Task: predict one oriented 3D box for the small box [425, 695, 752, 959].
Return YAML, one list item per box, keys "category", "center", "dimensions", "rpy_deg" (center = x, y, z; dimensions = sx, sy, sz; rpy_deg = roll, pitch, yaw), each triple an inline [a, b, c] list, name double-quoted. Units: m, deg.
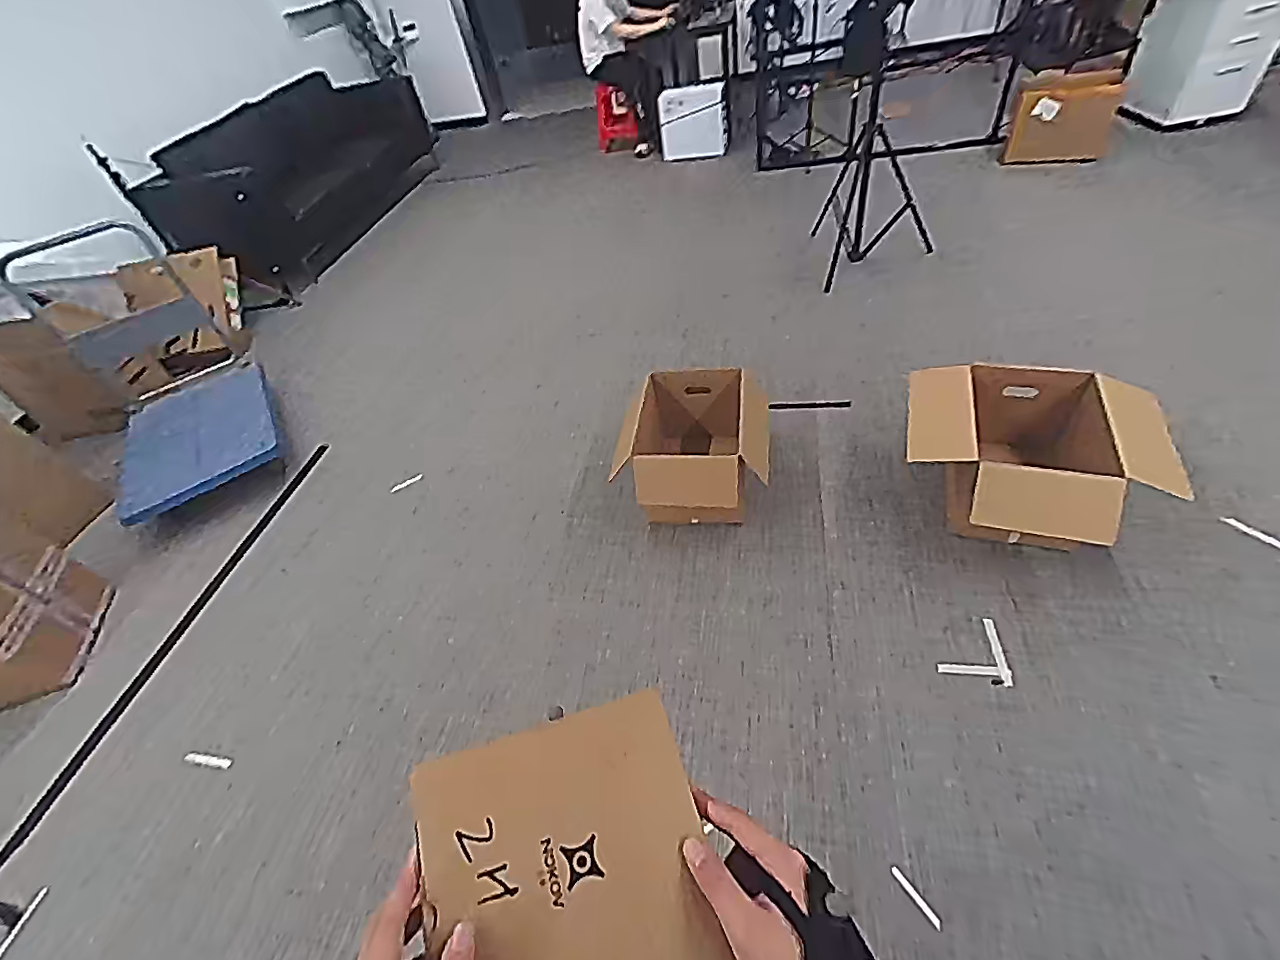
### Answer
- category: "small box"
  center: [-0.043, 0.279, 0.406]
  dimensions: [0.179, 0.176, 0.168]
  rpy_deg: [-13, 61, -11]
